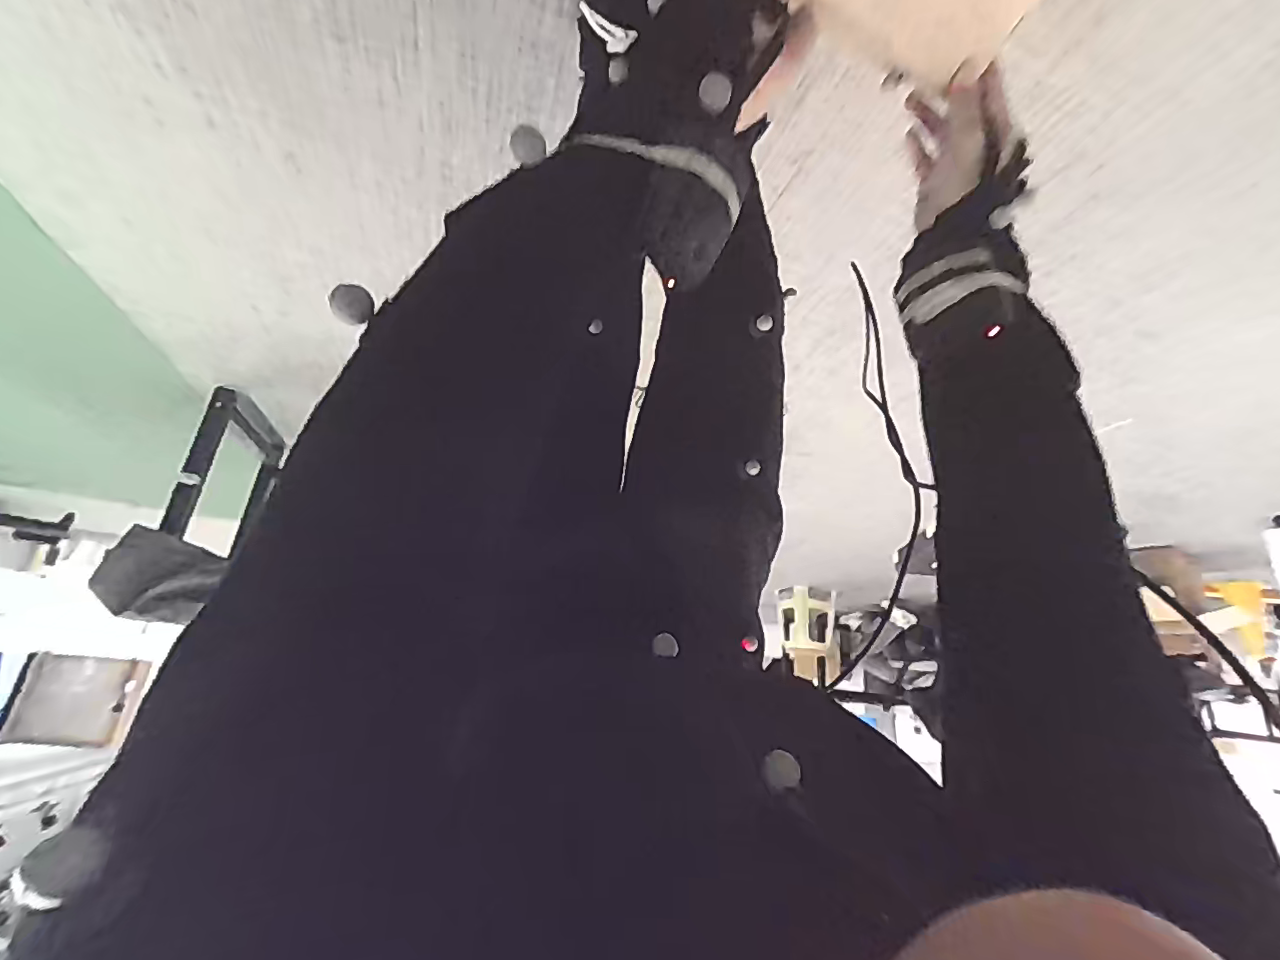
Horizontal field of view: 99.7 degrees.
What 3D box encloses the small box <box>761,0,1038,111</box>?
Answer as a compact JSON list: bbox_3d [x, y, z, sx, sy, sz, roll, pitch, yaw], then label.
[{"bbox_3d":[0.166,-0.386,0.348,0.179,0.176,0.168,10,133,-30],"label":"small box"}]
